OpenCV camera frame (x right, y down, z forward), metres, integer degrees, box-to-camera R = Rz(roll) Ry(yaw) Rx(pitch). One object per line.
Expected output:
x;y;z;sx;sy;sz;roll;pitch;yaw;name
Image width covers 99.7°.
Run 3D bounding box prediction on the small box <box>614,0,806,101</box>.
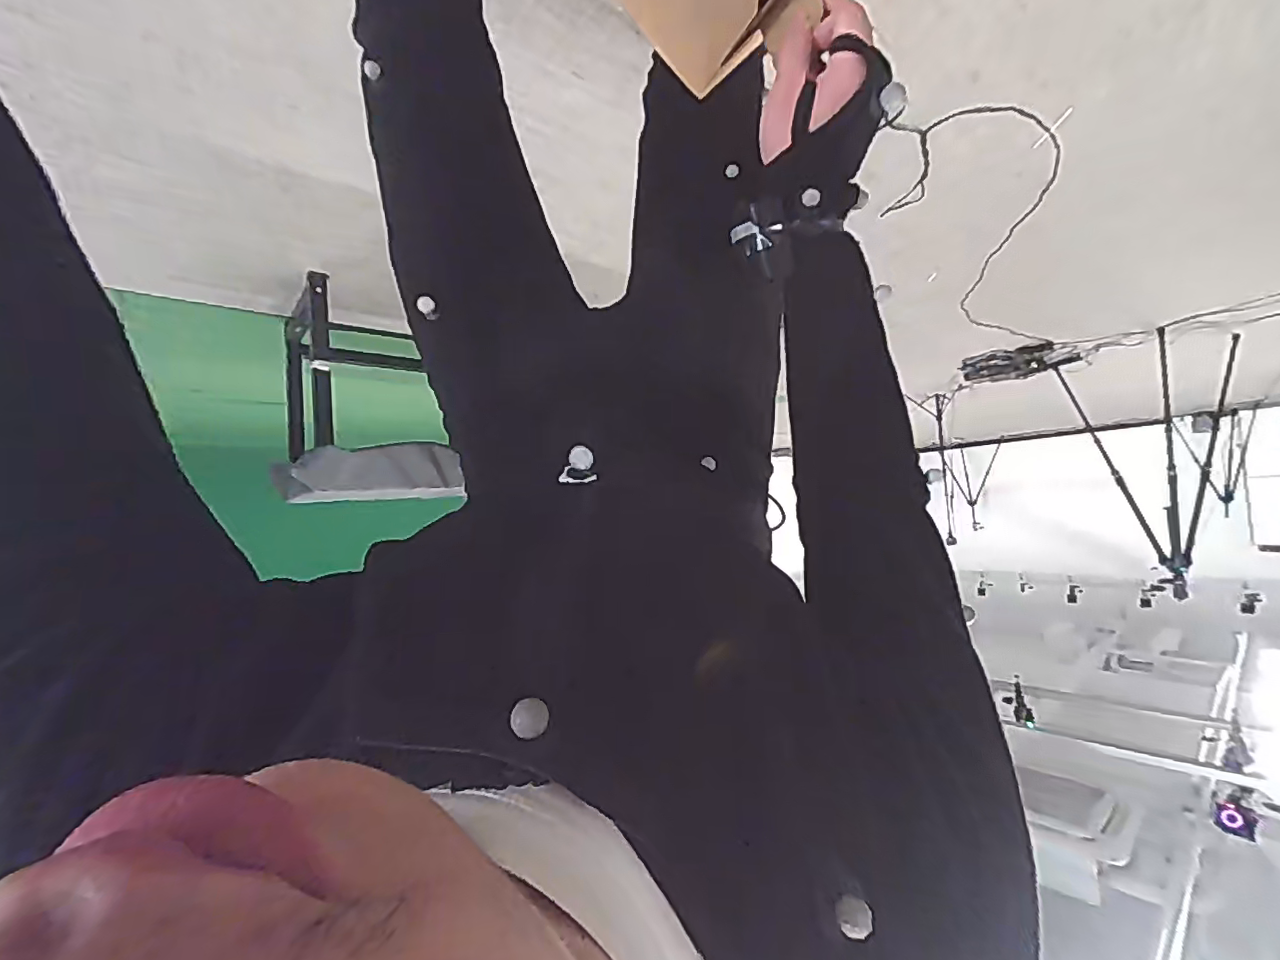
0.070;-0.432;0.379;0.179;0.176;0.168;43;153;-13;small box
